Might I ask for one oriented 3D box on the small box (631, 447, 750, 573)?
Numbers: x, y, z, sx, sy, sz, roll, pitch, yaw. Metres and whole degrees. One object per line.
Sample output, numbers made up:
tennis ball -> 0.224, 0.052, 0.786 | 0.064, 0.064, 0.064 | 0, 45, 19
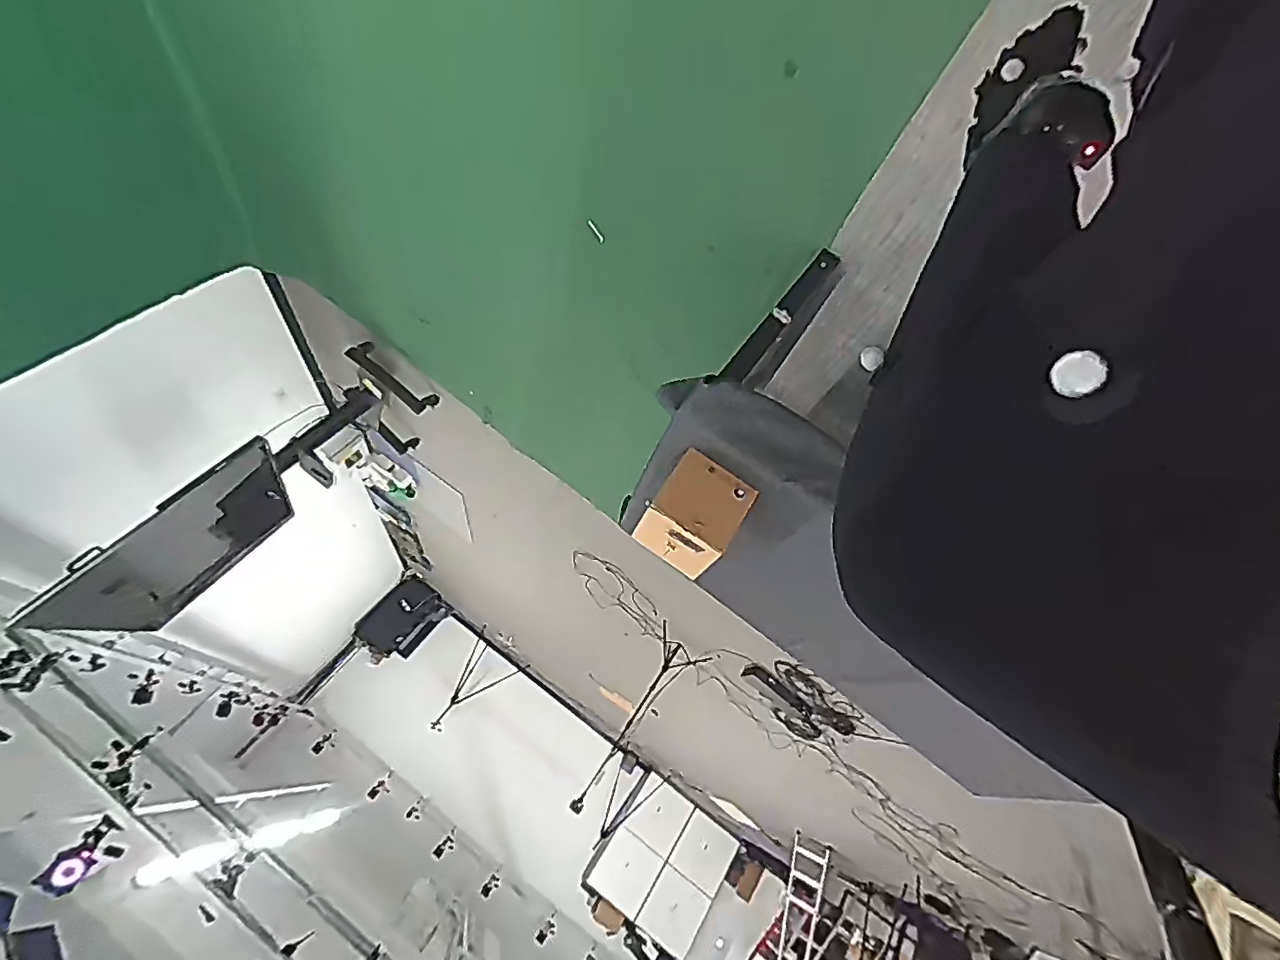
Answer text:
small box -> 0.107, 0.061, 1.129 | 0.168, 0.176, 0.179 | 35, 151, 4
